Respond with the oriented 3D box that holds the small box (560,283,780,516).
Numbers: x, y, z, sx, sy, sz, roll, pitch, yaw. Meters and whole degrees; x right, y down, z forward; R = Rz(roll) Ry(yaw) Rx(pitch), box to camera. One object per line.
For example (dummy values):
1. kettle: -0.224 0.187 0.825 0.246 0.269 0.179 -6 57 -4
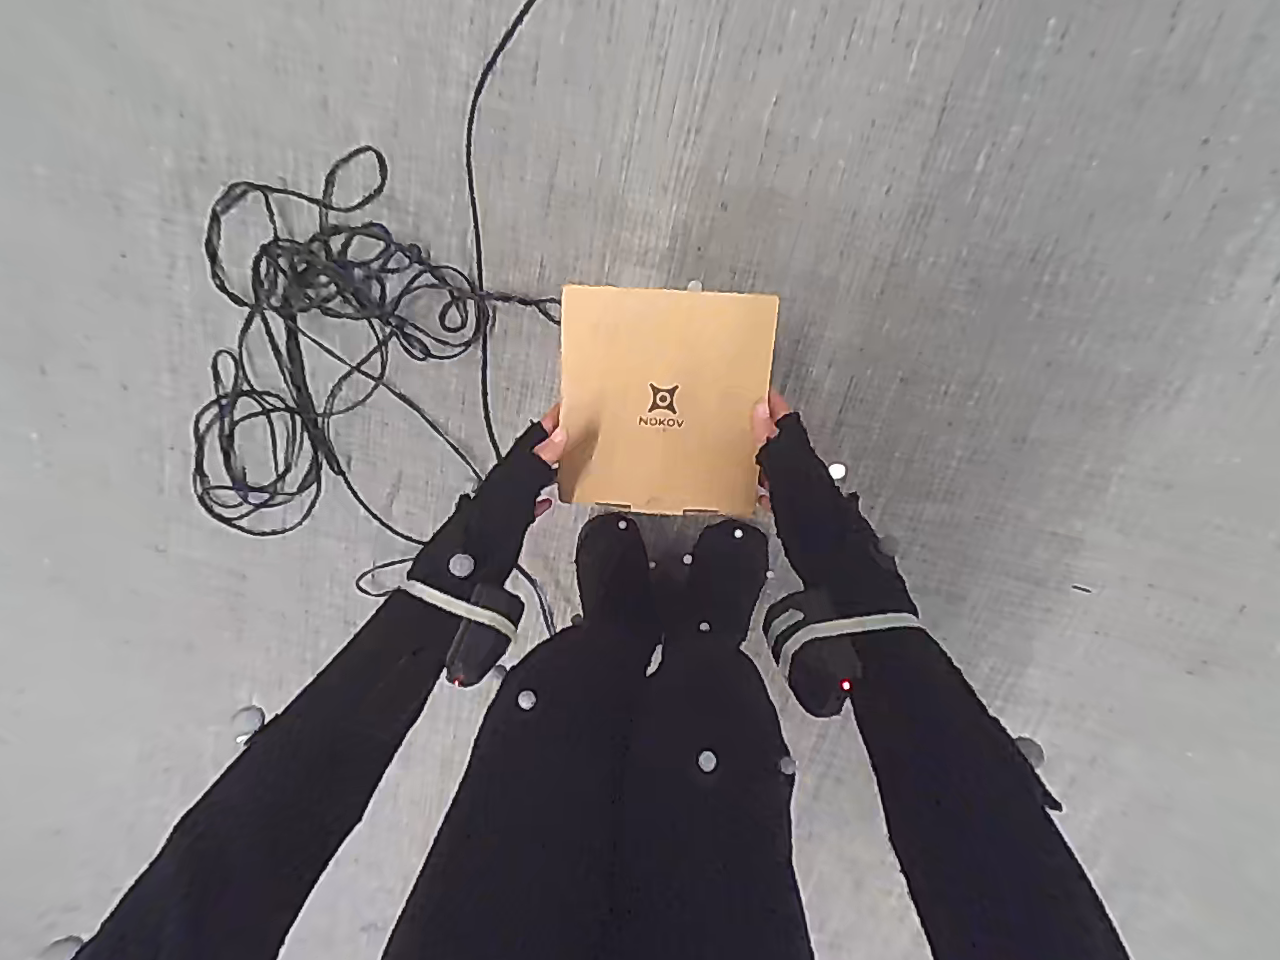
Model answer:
1. small box: 0.024 -0.078 0.502 0.168 0.176 0.179 4 105 3
